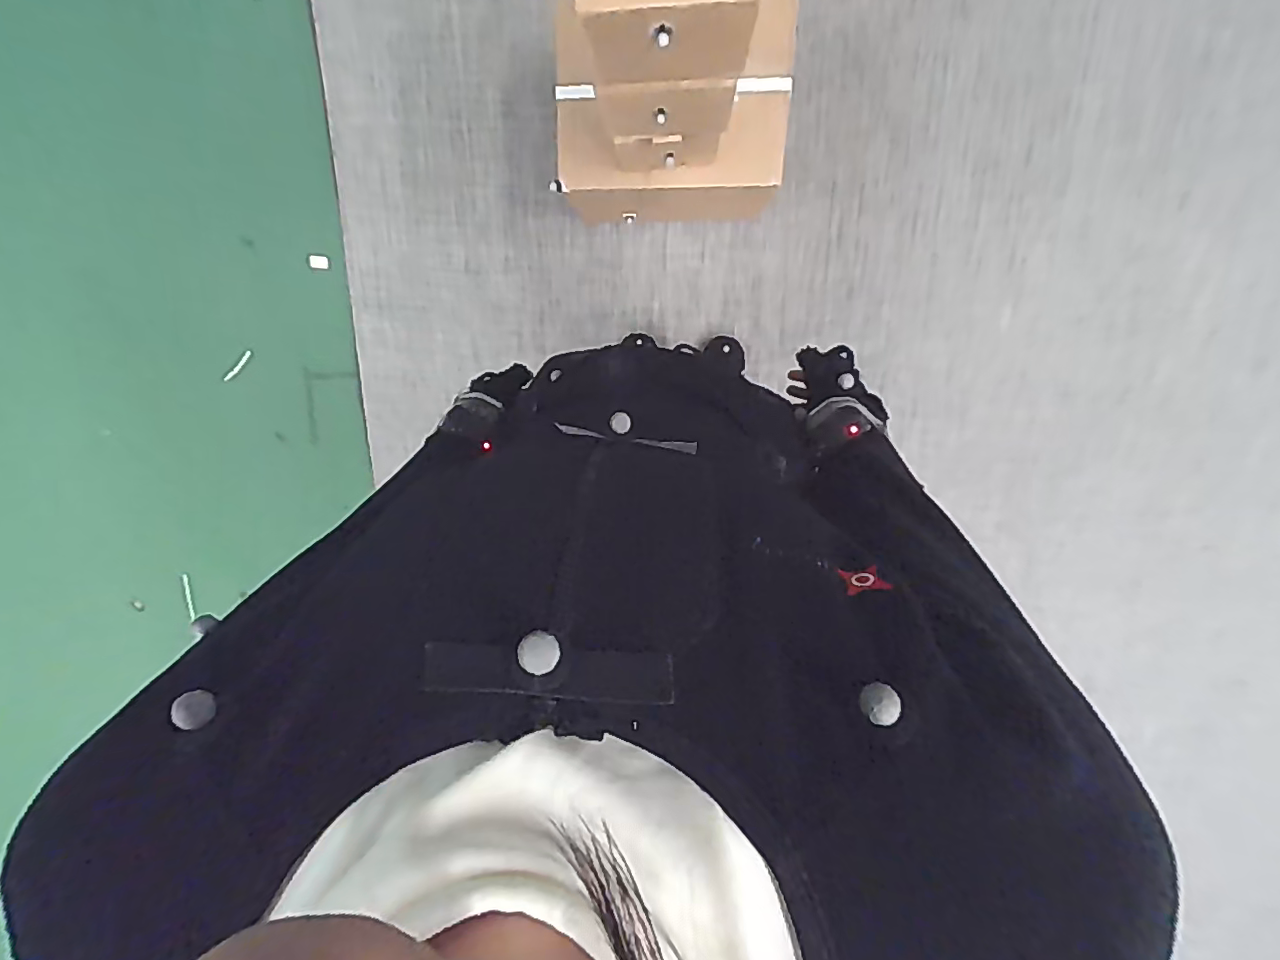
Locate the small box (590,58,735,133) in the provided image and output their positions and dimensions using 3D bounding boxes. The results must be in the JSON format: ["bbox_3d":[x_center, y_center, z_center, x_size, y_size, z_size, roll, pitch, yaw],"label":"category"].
[{"bbox_3d":[0.032,-0.573,0.706,0.179,0.176,0.168,1,107,6],"label":"small box"}]

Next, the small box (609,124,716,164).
[{"bbox_3d":[0.038,-0.621,0.864,0.168,0.176,0.179,-2,107,6],"label":"small box"}]

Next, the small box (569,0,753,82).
[{"bbox_3d":[0.025,-0.533,0.550,0.179,0.176,0.168,-1,108,4],"label":"small box"}]
